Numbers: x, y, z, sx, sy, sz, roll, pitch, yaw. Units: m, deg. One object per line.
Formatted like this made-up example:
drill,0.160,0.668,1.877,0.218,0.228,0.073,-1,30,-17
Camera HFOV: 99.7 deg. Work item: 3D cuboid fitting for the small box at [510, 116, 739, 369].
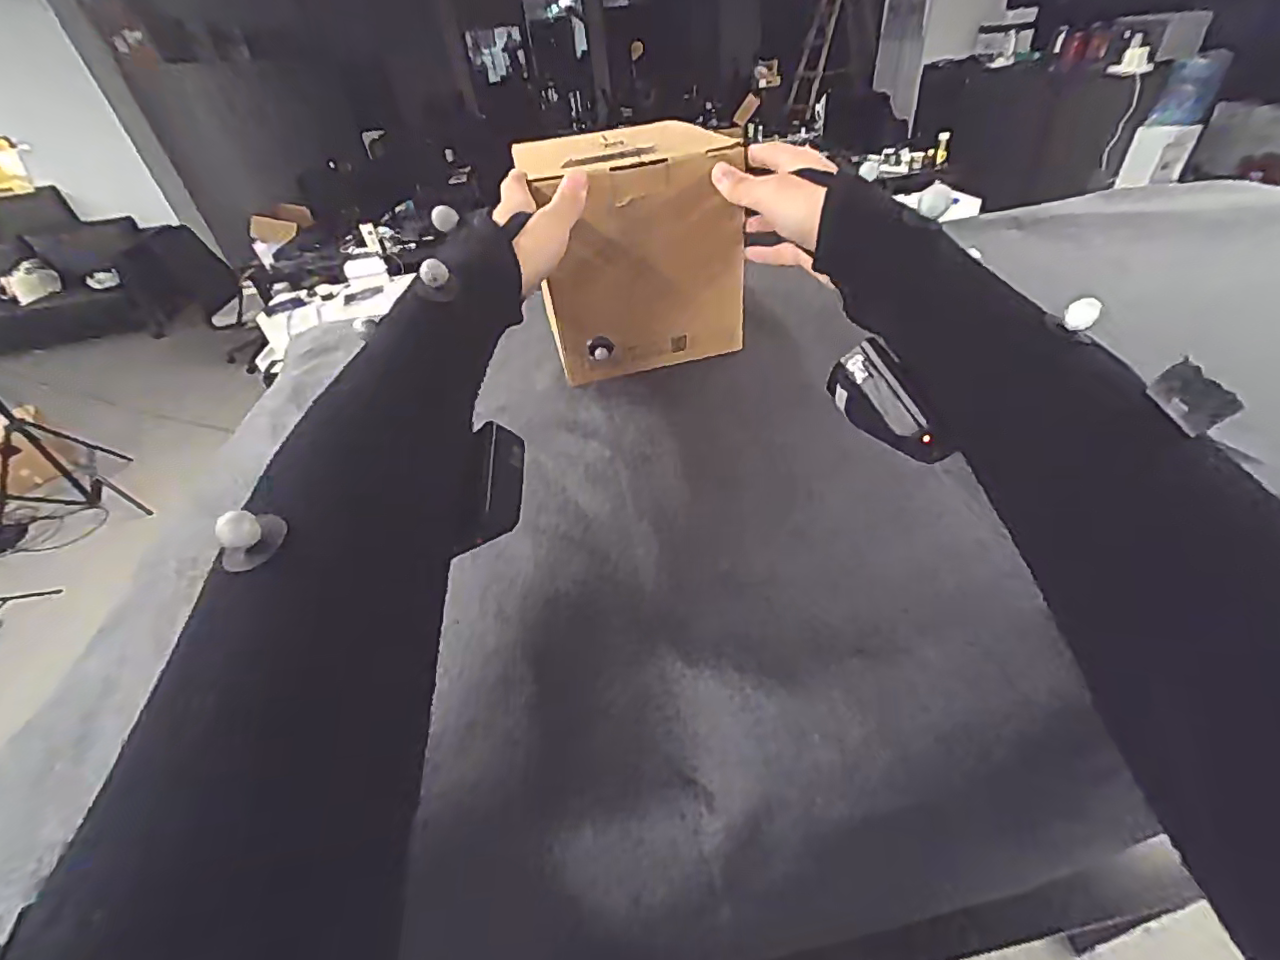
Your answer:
small box,-0.015,-0.215,0.499,0.168,0.176,0.179,-13,40,-7
